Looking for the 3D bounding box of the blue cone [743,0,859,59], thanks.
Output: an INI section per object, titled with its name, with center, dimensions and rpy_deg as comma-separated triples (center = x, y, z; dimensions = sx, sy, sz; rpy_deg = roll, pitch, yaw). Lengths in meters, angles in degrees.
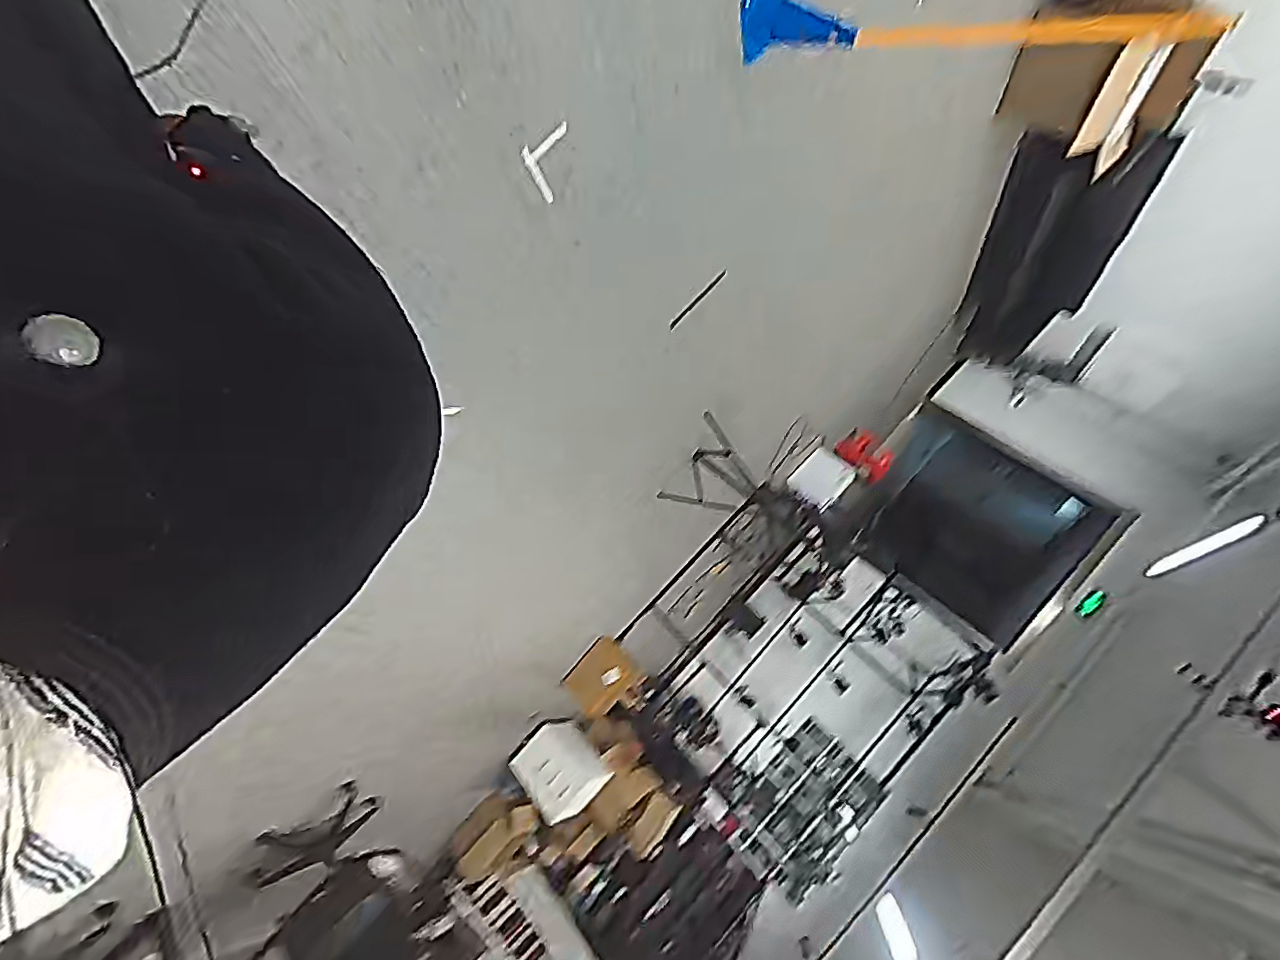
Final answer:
[blue cone]
center = 0.510, -1.400, 1.655
dimensions = 0.192, 0.380, 0.193
rpy_deg = -43, 151, -9
